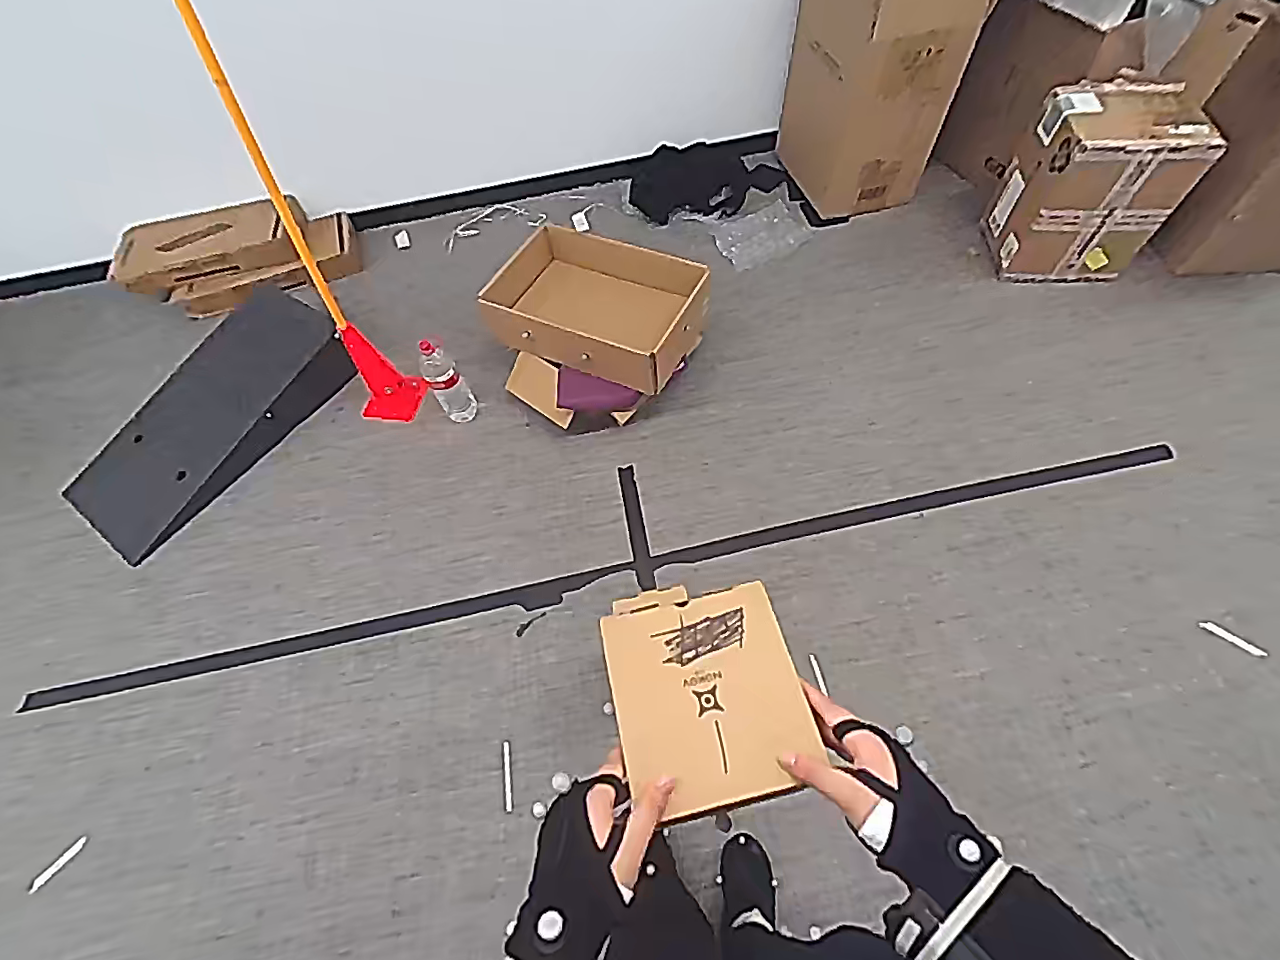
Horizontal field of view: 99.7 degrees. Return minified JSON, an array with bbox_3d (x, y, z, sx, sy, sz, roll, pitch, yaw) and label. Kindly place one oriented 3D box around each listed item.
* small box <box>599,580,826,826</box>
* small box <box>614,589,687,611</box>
[{"bbox_3d":[0.060,0.228,0.545,0.168,0.176,0.179,-13,56,-4],"label":"small box"},{"bbox_3d":[0.043,0.368,1.197,0.168,0.176,0.179,-13,57,-3],"label":"small box"}]
